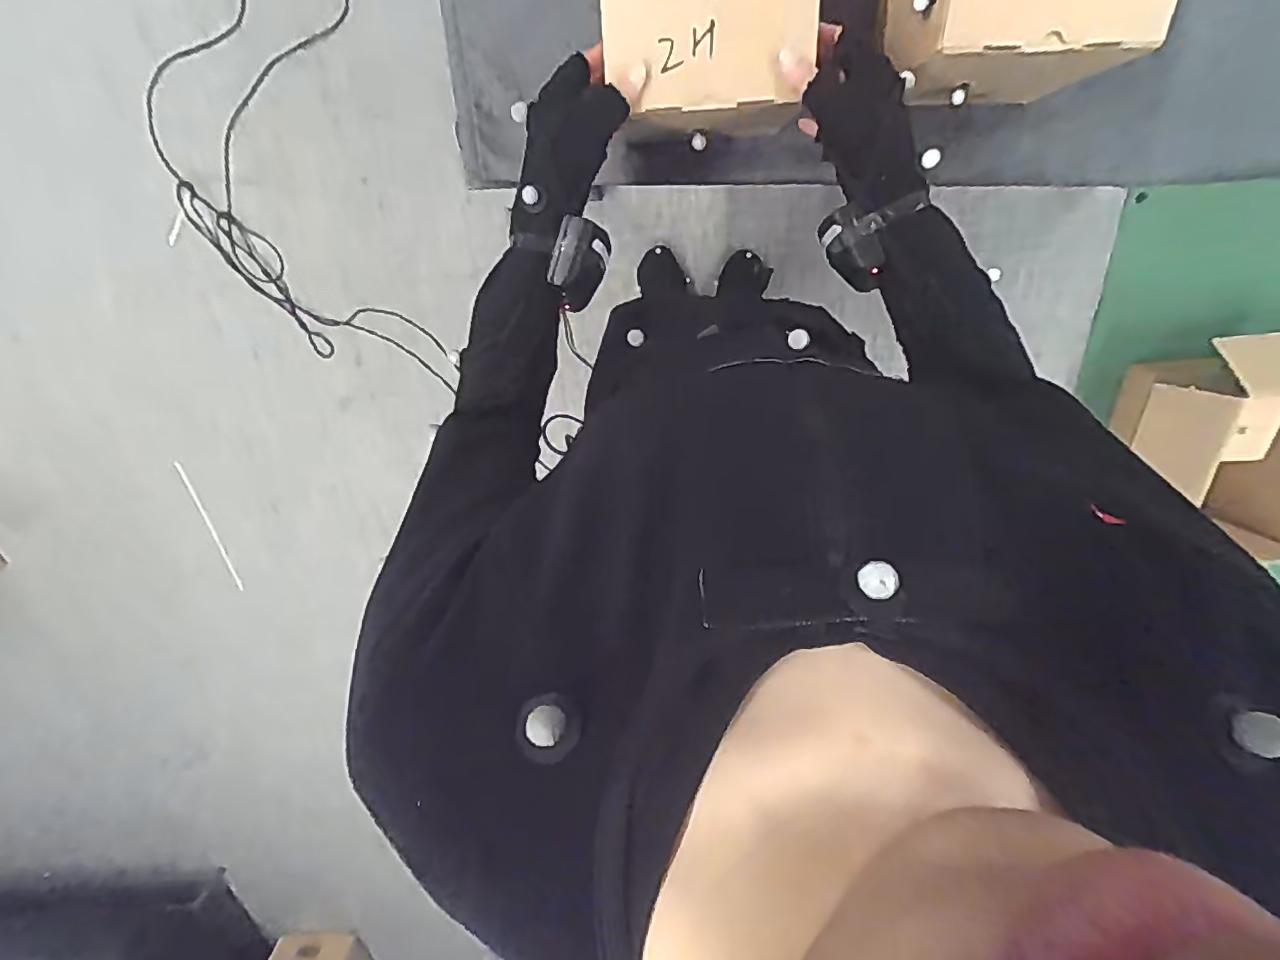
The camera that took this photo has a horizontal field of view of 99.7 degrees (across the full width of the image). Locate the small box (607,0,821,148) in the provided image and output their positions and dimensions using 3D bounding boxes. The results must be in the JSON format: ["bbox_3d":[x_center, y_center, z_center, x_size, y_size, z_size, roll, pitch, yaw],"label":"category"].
[{"bbox_3d":[0.058,-0.410,0.477,0.168,0.176,0.179,-1,115,4],"label":"small box"}]
